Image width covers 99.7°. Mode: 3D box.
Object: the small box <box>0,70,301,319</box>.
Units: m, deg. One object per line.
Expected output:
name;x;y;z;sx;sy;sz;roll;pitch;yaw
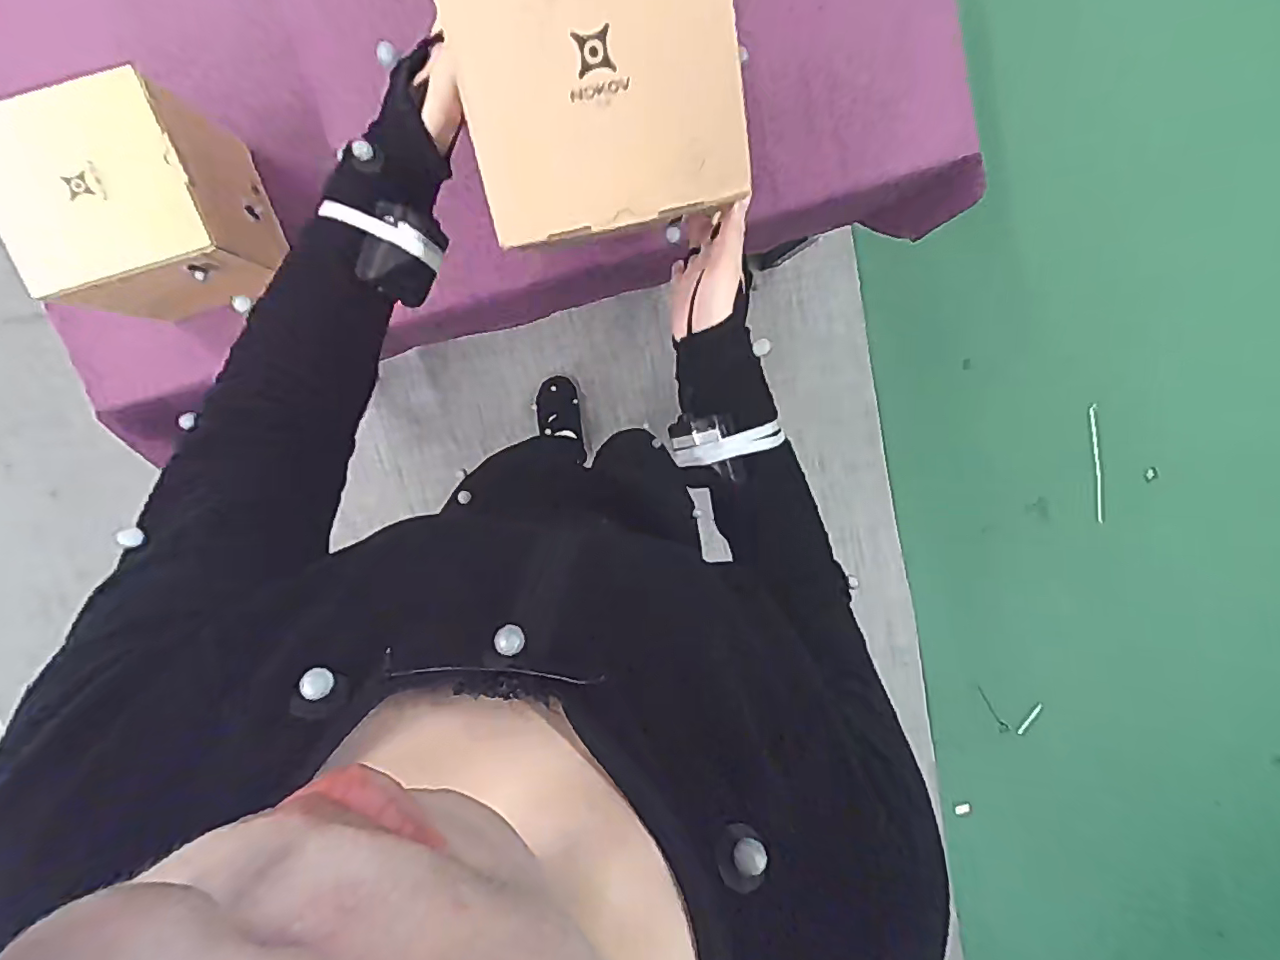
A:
small box;-0.520;-0.287;0.586;0.179;0.176;0.168;-19;100;-3
